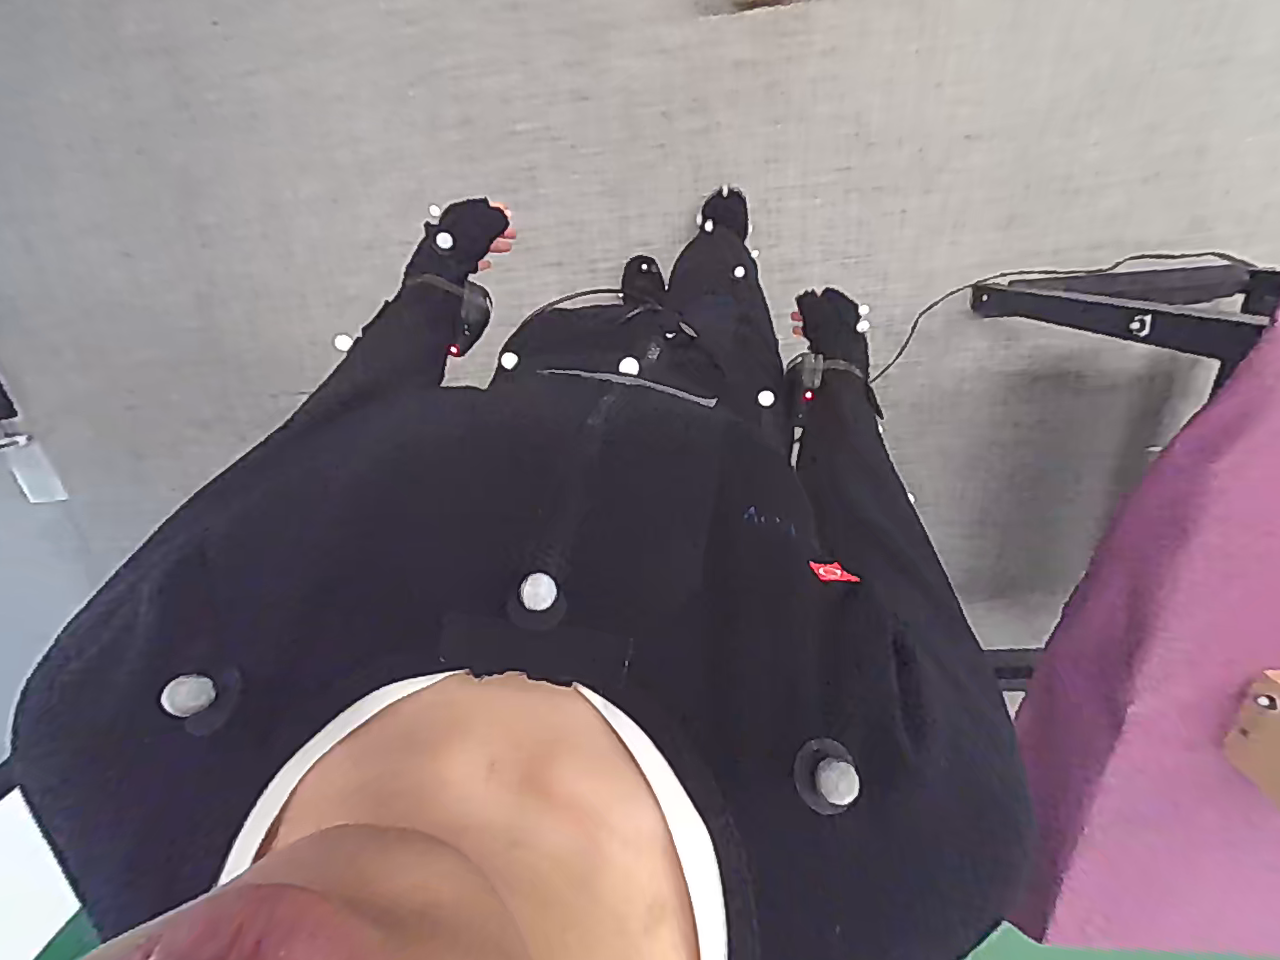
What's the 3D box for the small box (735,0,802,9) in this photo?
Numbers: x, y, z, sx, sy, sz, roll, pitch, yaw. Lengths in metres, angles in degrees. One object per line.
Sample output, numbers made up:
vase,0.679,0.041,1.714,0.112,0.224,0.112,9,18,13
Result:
small box,0.256,-1.016,0.990,0.168,0.176,0.179,-4,112,6
